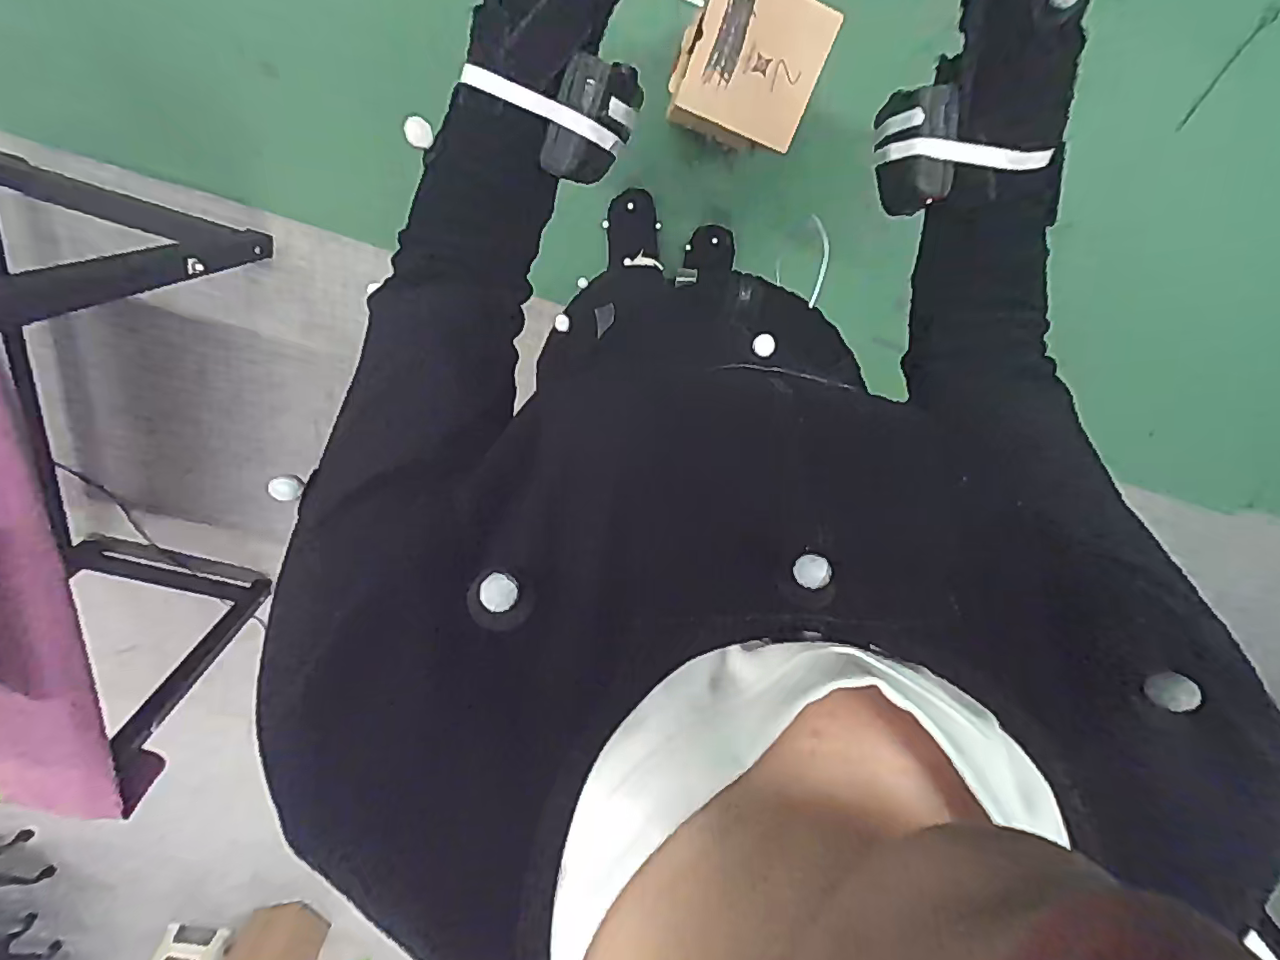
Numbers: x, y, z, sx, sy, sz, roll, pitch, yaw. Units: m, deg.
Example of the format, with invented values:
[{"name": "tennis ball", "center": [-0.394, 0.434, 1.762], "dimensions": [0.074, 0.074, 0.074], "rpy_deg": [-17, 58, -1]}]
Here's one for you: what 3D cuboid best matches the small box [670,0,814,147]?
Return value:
[{"name": "small box", "center": [0.161, -0.694, 0.923], "dimensions": [0.179, 0.176, 0.168], "rpy_deg": [17, 120, -10]}]
